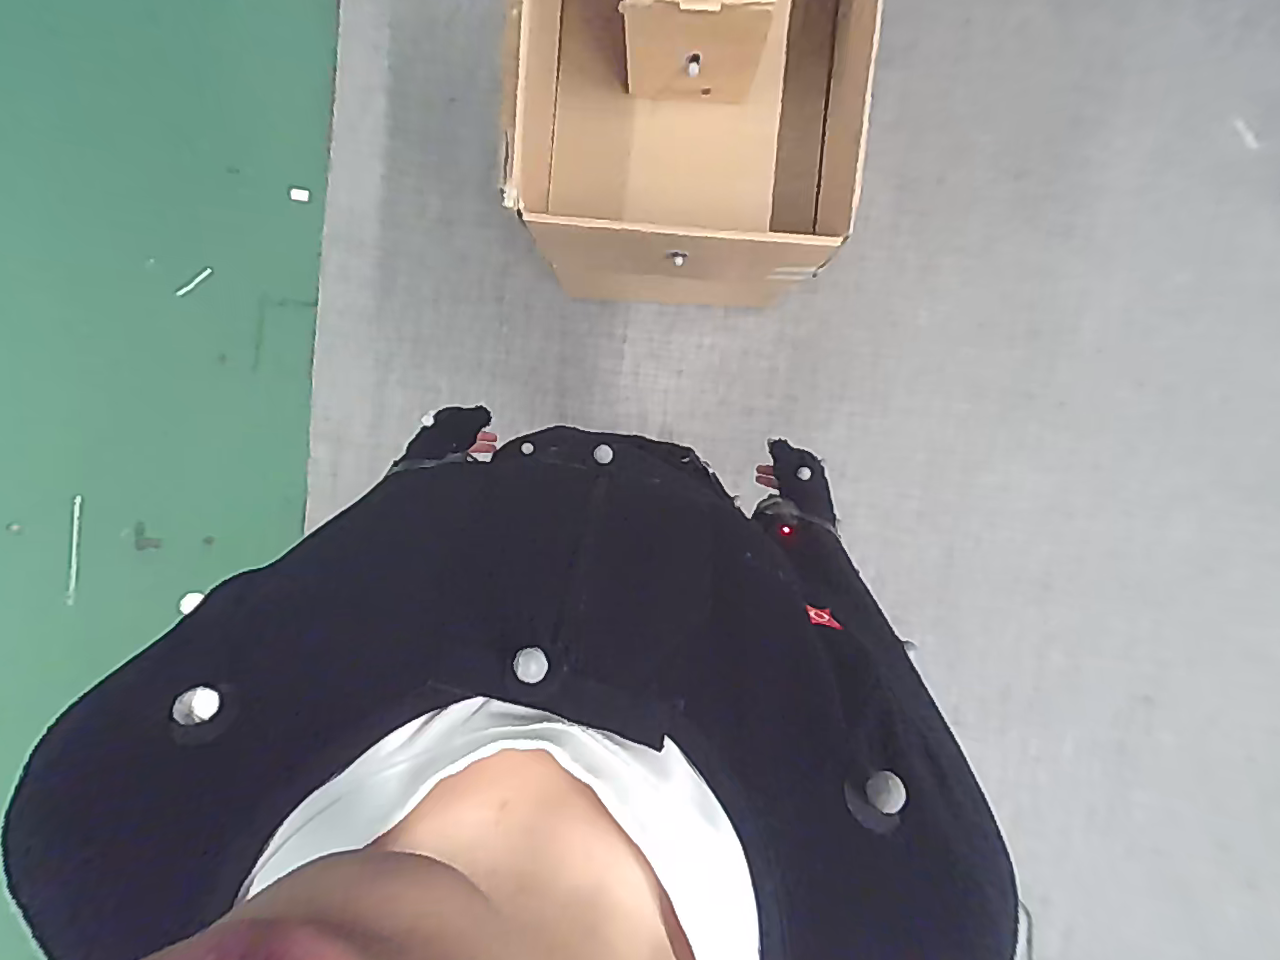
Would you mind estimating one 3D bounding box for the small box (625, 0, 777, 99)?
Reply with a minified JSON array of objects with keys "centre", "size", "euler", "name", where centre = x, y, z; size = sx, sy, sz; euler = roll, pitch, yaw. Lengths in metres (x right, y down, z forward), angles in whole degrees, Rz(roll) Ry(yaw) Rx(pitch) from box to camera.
[{"centre":[0.074,-0.594,0.645],"size":[0.168,0.176,0.179],"euler":[5,95,1],"name":"small box"}]
